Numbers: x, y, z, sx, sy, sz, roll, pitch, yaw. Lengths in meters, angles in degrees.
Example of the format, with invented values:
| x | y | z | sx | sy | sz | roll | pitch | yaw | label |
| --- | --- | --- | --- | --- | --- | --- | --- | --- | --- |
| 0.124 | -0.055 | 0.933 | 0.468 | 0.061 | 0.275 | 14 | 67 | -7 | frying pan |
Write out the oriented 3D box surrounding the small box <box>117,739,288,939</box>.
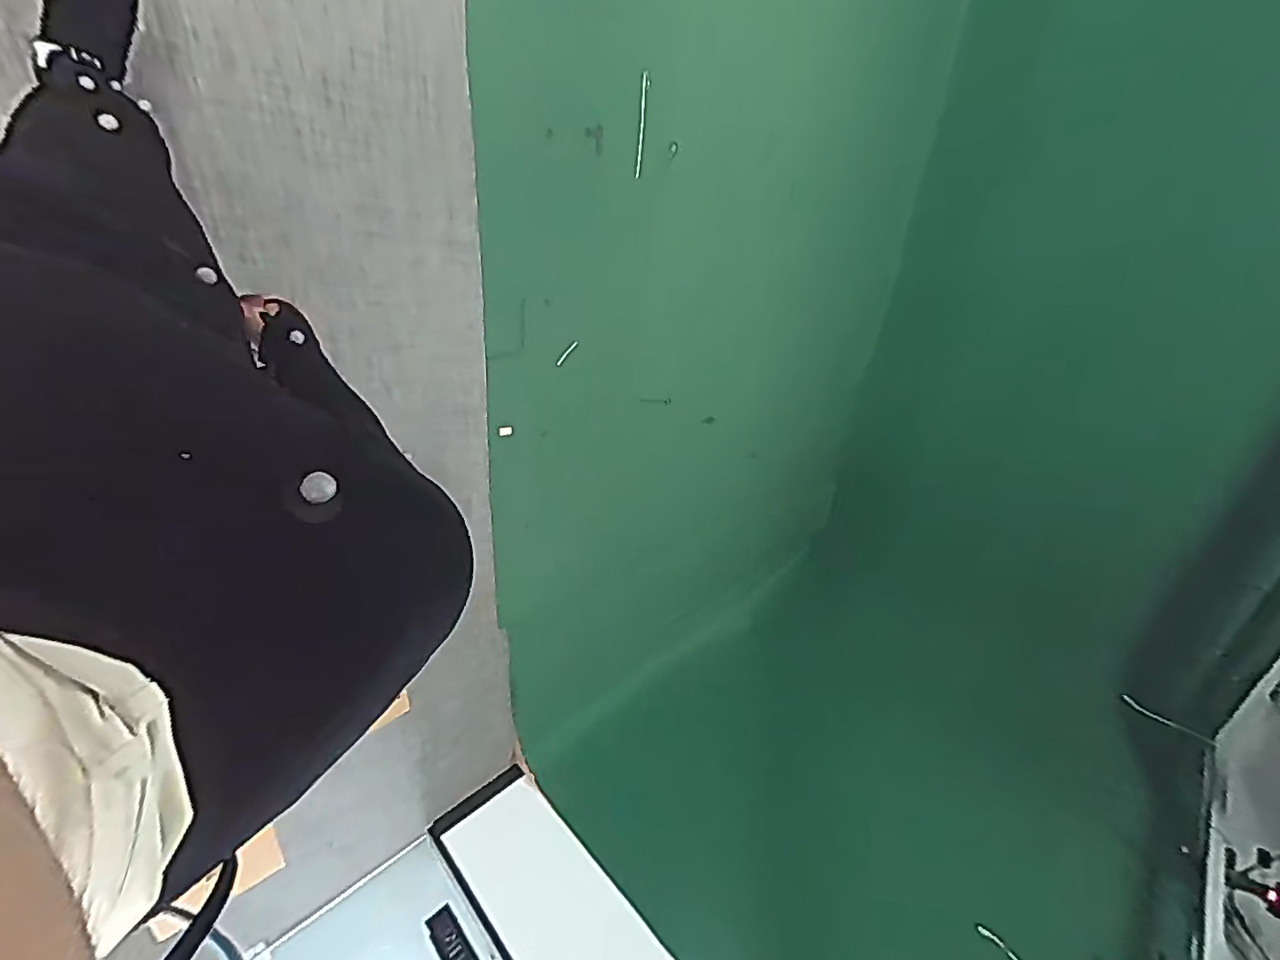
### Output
| x | y | z | sx | sy | sz | roll | pitch | yaw | label |
| --- | --- | --- | --- | --- | --- | --- | --- | --- | --- |
| -0.686 | 0.544 | 0.852 | 0.168 | 0.176 | 0.179 | -18 | 125 | -40 | small box |
